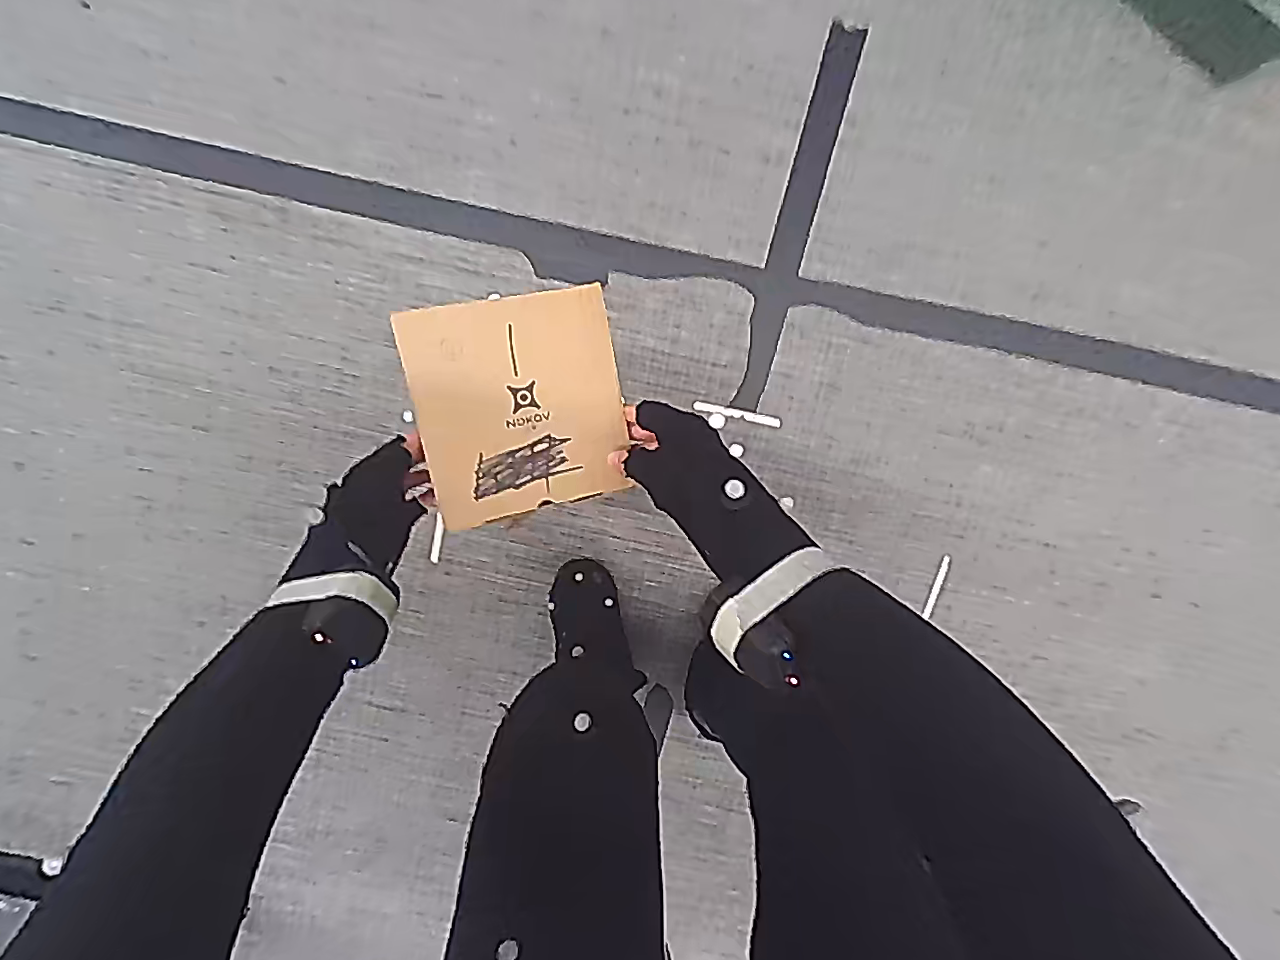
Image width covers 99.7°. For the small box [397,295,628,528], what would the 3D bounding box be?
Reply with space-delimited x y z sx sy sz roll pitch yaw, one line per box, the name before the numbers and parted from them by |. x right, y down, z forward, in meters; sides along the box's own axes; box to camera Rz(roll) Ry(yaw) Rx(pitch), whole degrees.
small box | -0.121 -0.071 0.525 0.168 0.176 0.179 -12 102 -16
